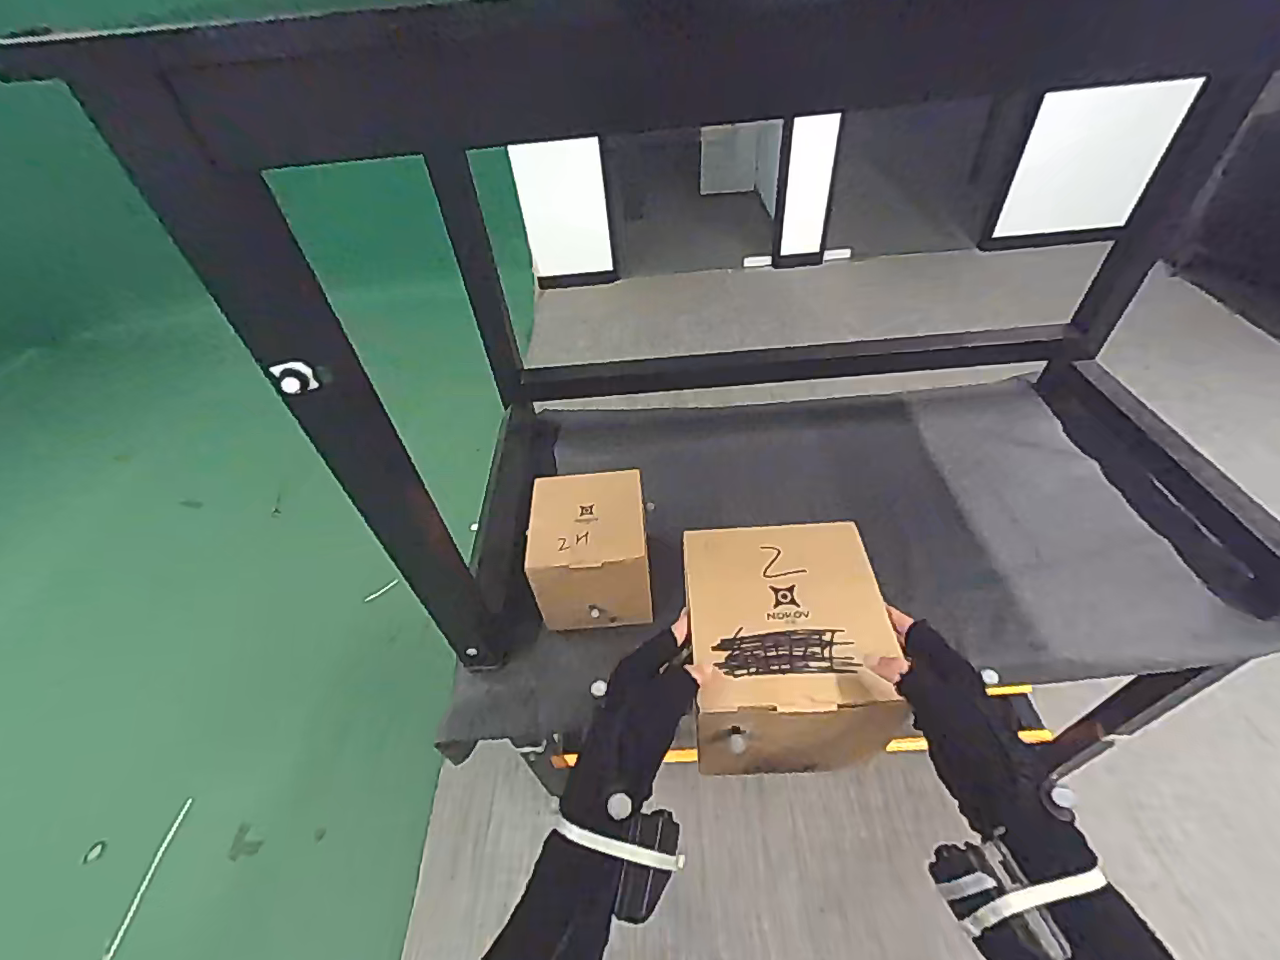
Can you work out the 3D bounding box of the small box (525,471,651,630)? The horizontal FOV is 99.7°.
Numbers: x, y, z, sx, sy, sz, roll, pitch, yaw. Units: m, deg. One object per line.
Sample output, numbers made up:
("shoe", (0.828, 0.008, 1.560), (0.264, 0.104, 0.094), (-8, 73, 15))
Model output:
("small box", (-0.072, 0.110, 0.837), (0.168, 0.176, 0.179), (-5, 45, 1))
